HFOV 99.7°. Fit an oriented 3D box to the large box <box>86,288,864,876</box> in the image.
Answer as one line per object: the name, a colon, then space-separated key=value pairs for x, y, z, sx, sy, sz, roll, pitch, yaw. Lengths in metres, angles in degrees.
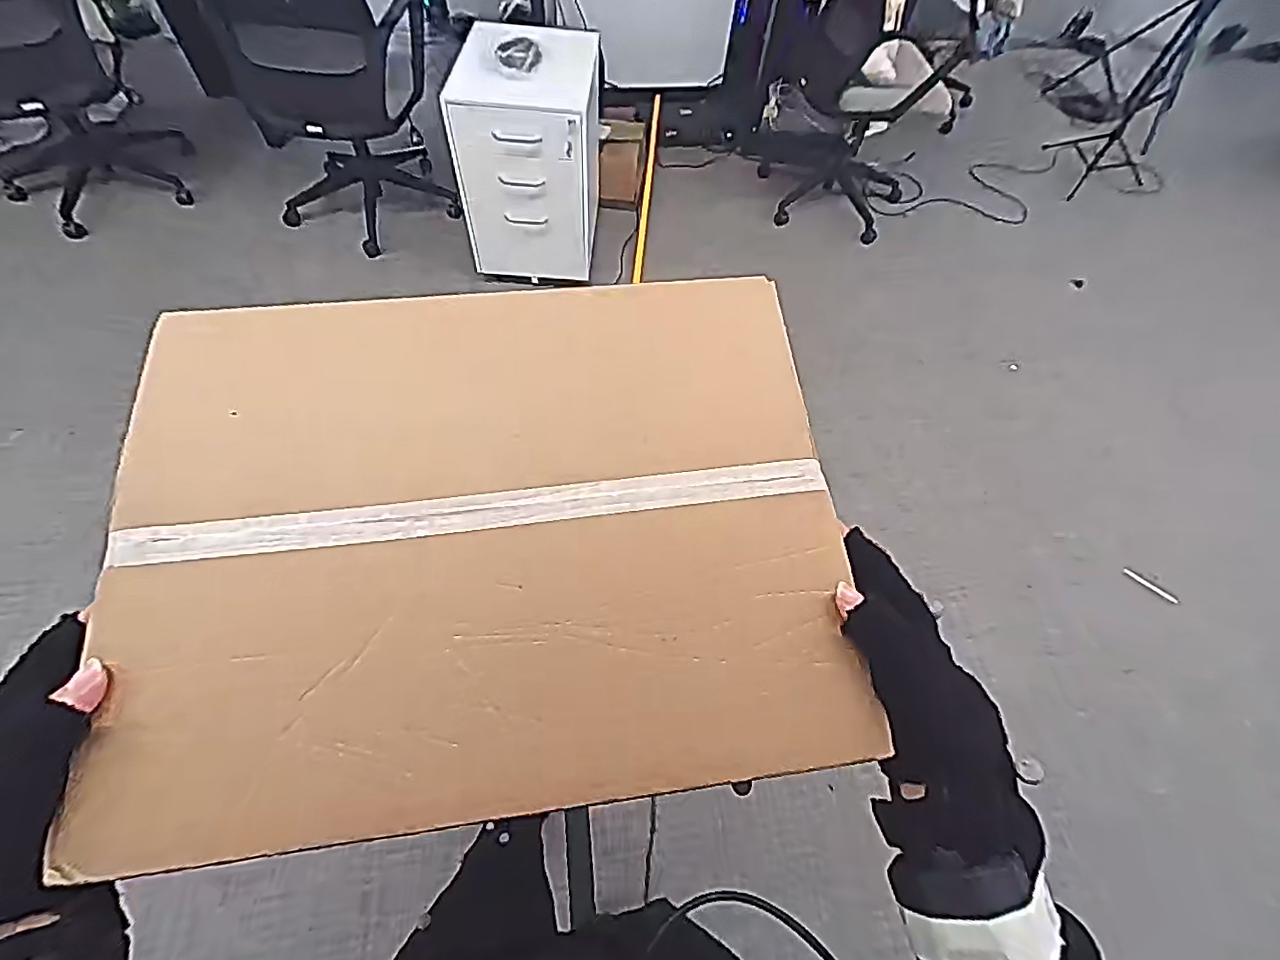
large box: x=-0.097 y=0.074 z=0.465 sx=0.408 sy=0.320 sz=0.320 roll=-6 pitch=70 yaw=-5
